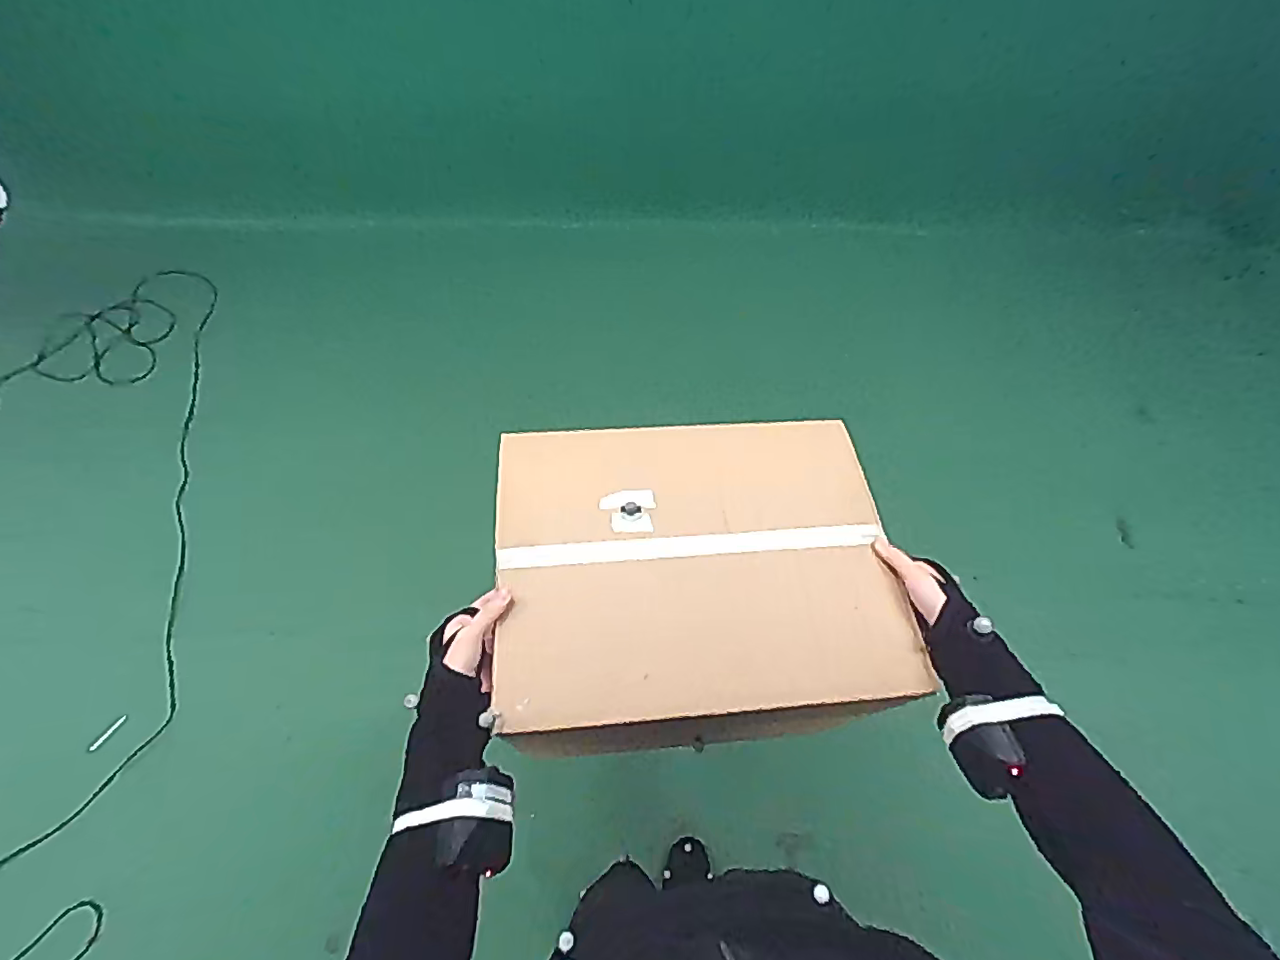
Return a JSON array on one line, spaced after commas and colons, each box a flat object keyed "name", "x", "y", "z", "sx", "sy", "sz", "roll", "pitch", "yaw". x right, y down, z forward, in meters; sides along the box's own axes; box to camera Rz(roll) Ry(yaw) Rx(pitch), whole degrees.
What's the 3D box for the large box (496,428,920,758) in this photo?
[{"name": "large box", "x": 0.050, "y": 0.157, "z": 0.693, "sx": 0.408, "sy": 0.320, "sz": 0.320, "roll": -4, "pitch": 59, "yaw": -5}]
